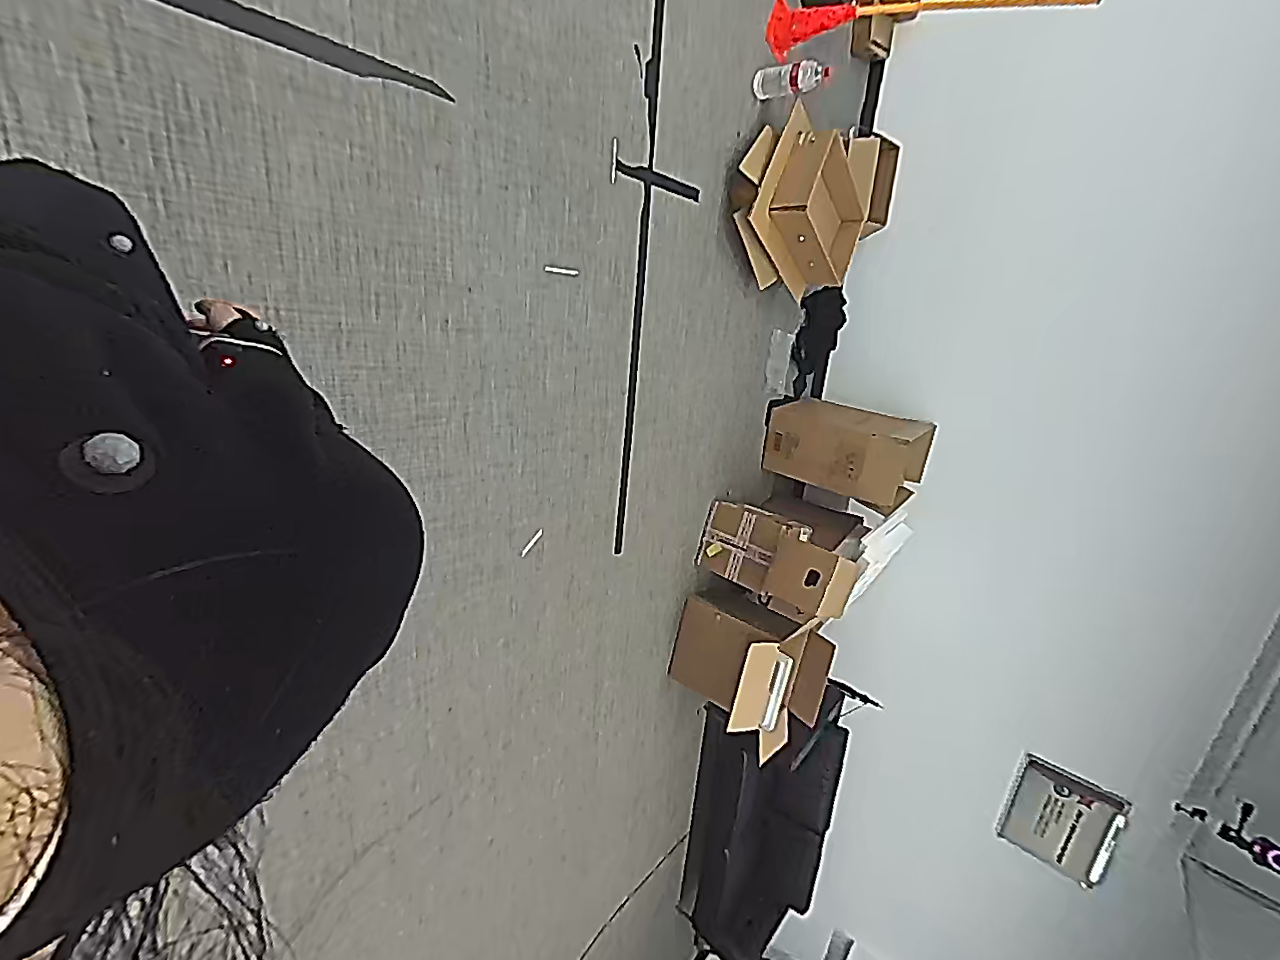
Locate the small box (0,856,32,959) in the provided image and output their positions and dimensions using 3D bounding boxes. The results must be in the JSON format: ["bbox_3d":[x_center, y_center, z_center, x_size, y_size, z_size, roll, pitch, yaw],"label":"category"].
[{"bbox_3d":[-0.935,0.646,0.713,0.168,0.176,0.179,-9,112,-50],"label":"small box"}]

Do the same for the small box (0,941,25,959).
[{"bbox_3d":[-0.812,0.687,0.614,0.168,0.176,0.179,-12,116,-49],"label":"small box"}]
